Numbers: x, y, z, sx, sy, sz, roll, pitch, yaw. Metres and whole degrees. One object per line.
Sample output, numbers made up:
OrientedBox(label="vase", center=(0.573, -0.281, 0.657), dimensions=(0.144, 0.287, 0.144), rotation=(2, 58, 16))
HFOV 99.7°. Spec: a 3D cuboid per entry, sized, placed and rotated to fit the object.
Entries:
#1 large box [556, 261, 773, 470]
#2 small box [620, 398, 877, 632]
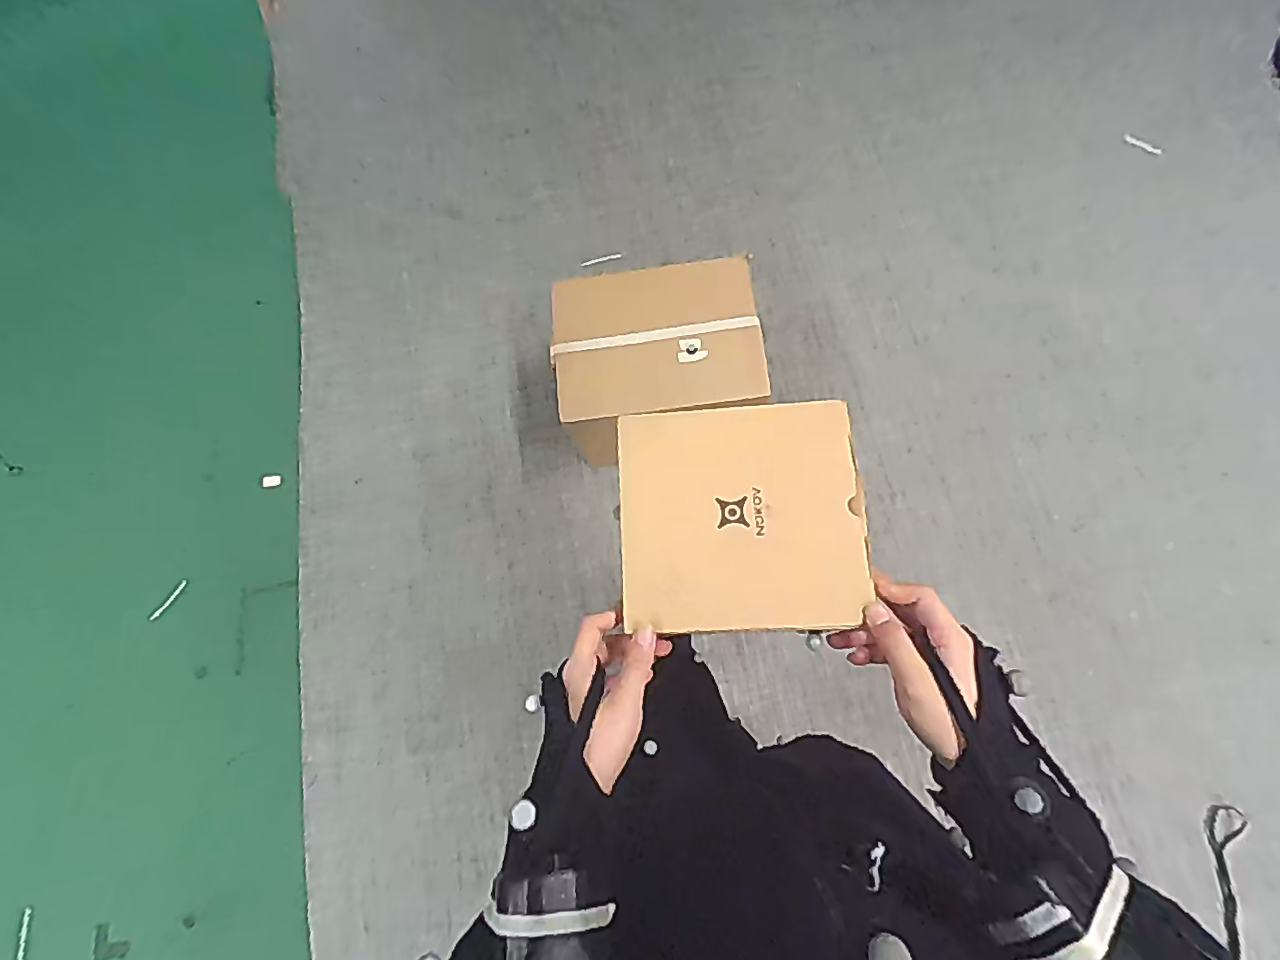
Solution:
OrientedBox(label="large box", center=(0.050, -0.232, 1.201), dimensions=(0.408, 0.320, 0.320), rotation=(-7, 75, 3))
OrientedBox(label="small box", center=(0.080, 0.043, 0.469), dimensions=(0.179, 0.176, 0.168), rotation=(-3, 73, 4))
